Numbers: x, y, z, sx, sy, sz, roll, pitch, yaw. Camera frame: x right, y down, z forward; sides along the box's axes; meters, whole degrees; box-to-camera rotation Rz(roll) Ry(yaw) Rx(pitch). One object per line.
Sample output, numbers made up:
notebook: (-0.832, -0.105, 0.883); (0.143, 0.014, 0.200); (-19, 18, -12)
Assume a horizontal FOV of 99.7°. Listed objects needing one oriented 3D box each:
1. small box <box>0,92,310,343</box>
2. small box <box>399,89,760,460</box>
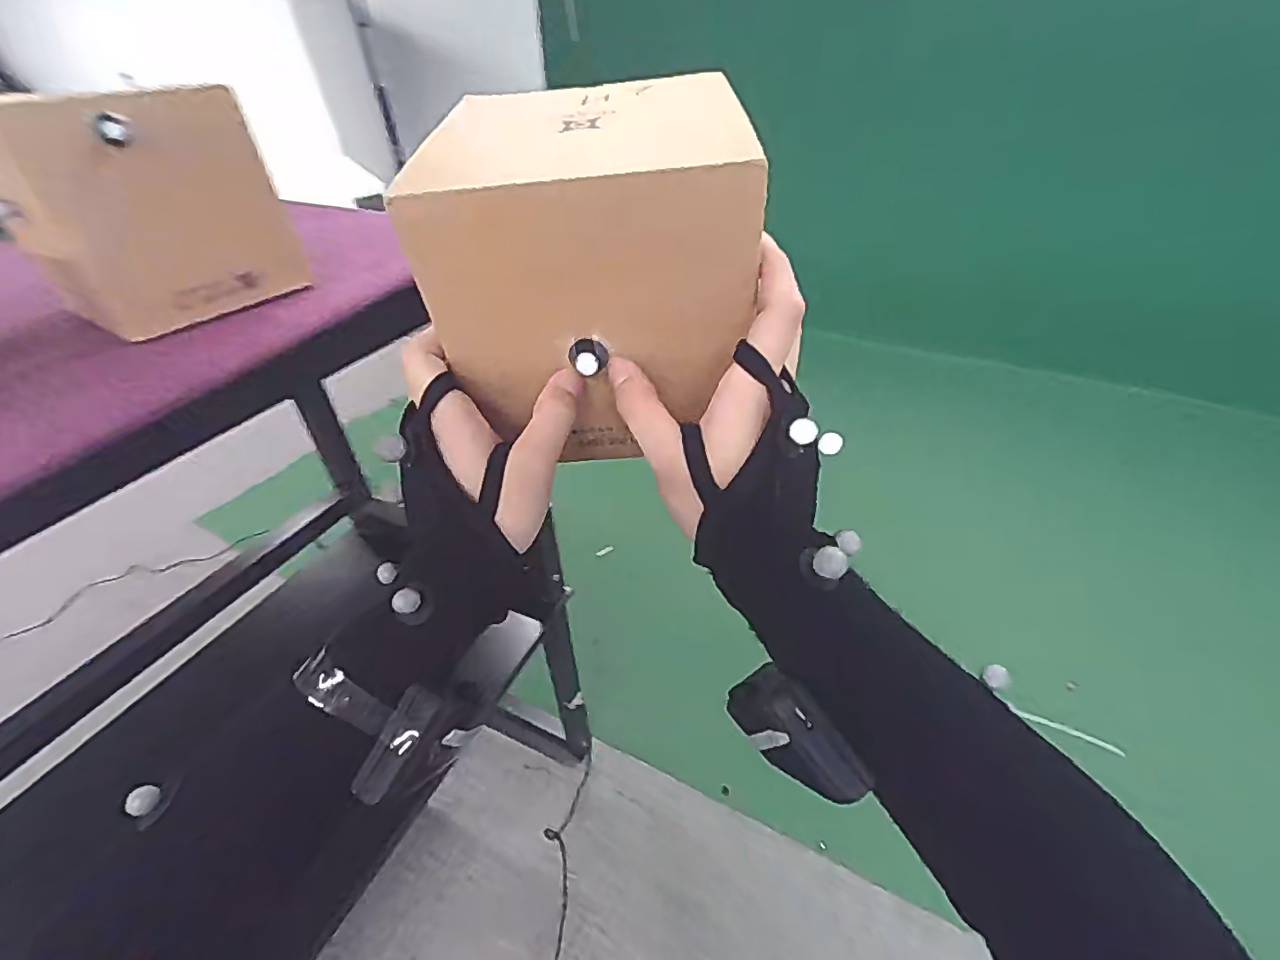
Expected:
small box: (-0.451, -0.241, 0.493); (0.179, 0.176, 0.168); (20, 46, 28)
small box: (-0.019, -0.124, 0.349); (0.168, 0.176, 0.179); (-3, 46, 4)
